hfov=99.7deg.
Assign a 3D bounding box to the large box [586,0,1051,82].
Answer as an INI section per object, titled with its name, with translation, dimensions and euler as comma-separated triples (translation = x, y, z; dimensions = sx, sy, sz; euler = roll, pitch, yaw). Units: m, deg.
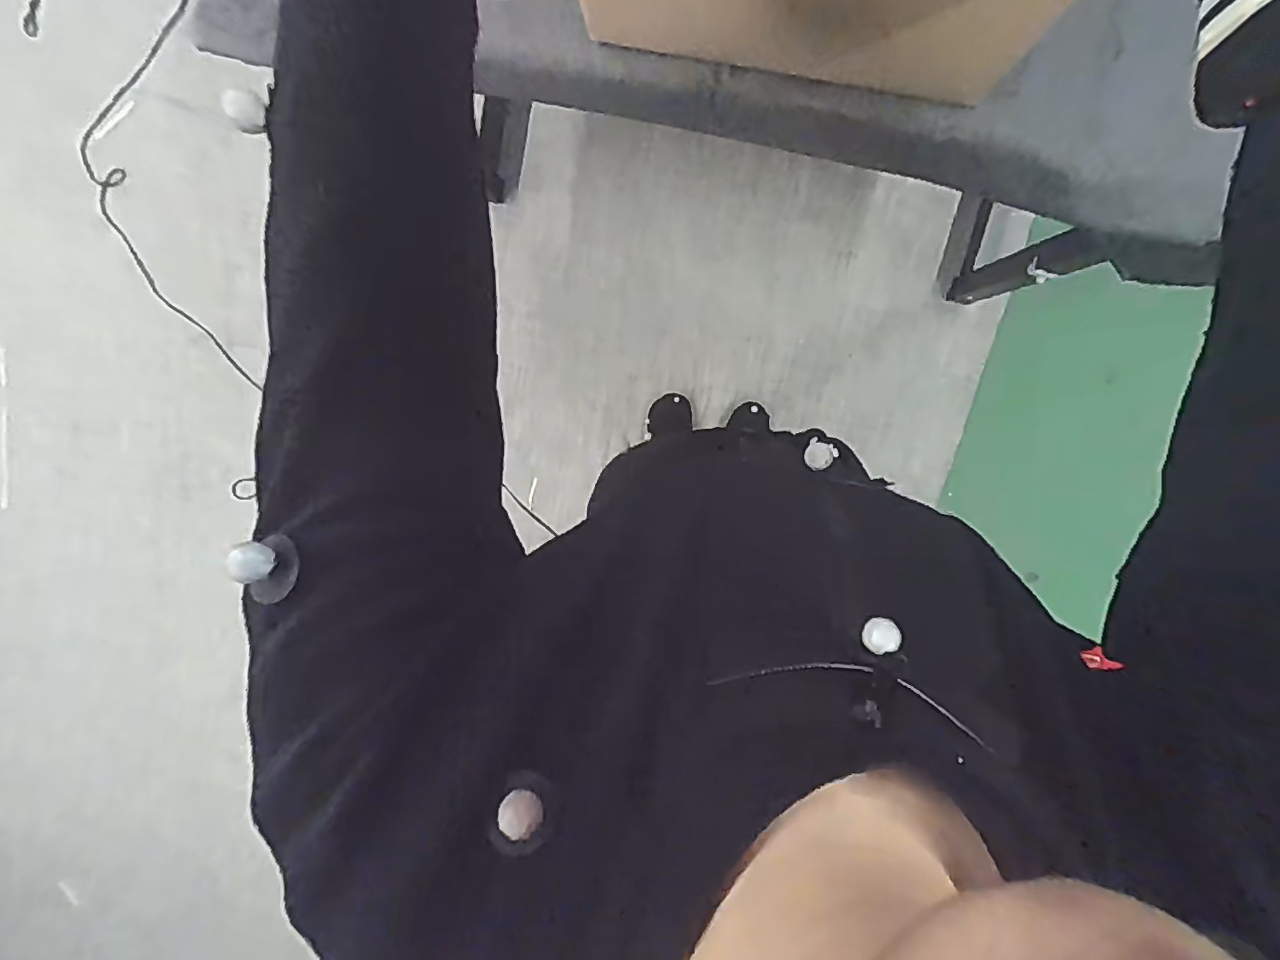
[large box]
translation = 0.157, -0.556, 0.382
dimensions = 0.408, 0.320, 0.320
euler = 11, 100, 2
